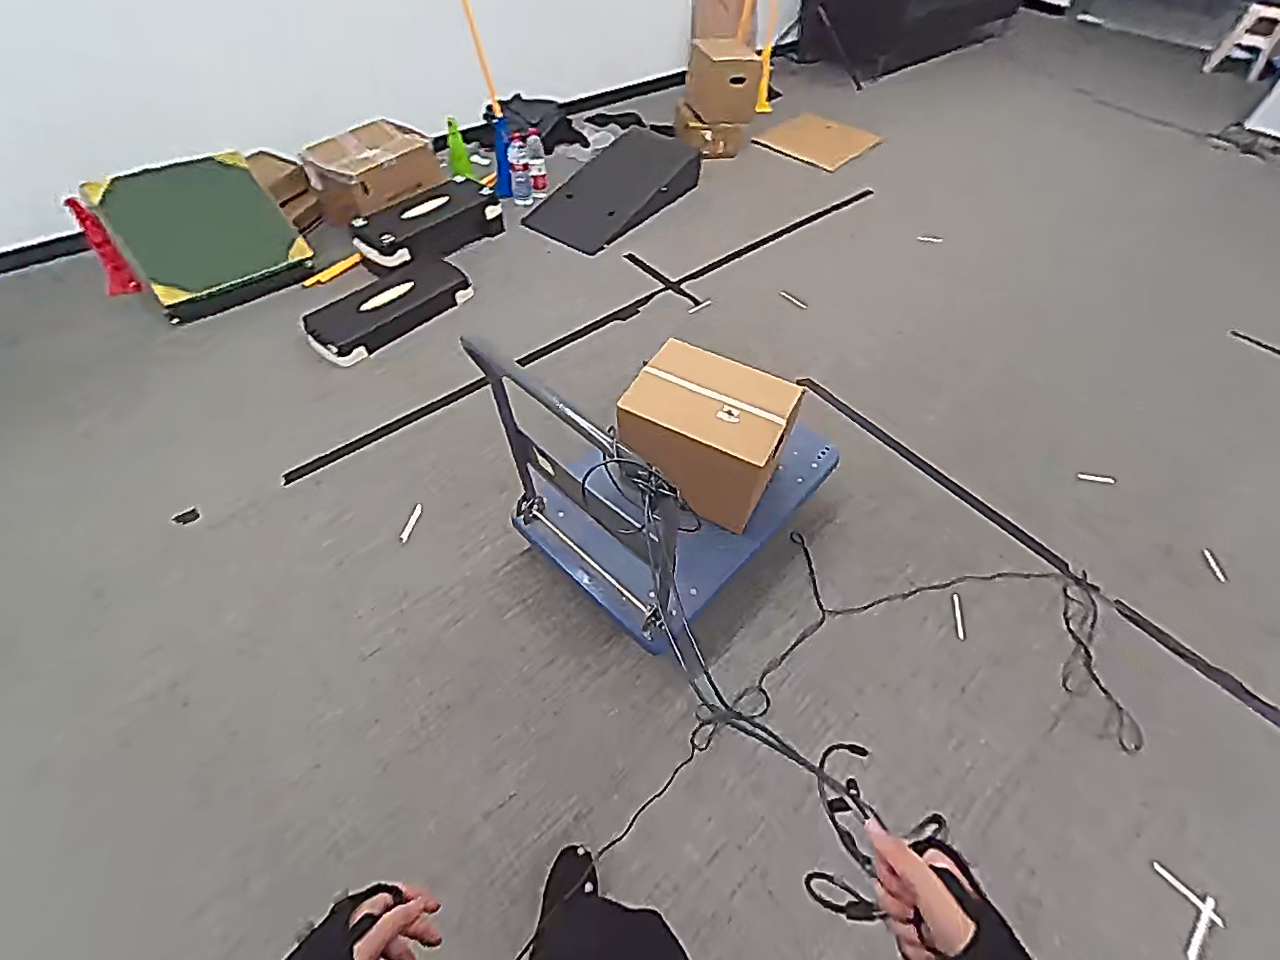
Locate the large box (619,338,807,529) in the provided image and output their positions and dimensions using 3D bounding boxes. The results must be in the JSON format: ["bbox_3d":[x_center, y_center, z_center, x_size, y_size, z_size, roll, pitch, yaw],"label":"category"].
[{"bbox_3d":[0.186,-0.129,1.509,0.408,0.320,0.320,26,58,15],"label":"large box"}]
